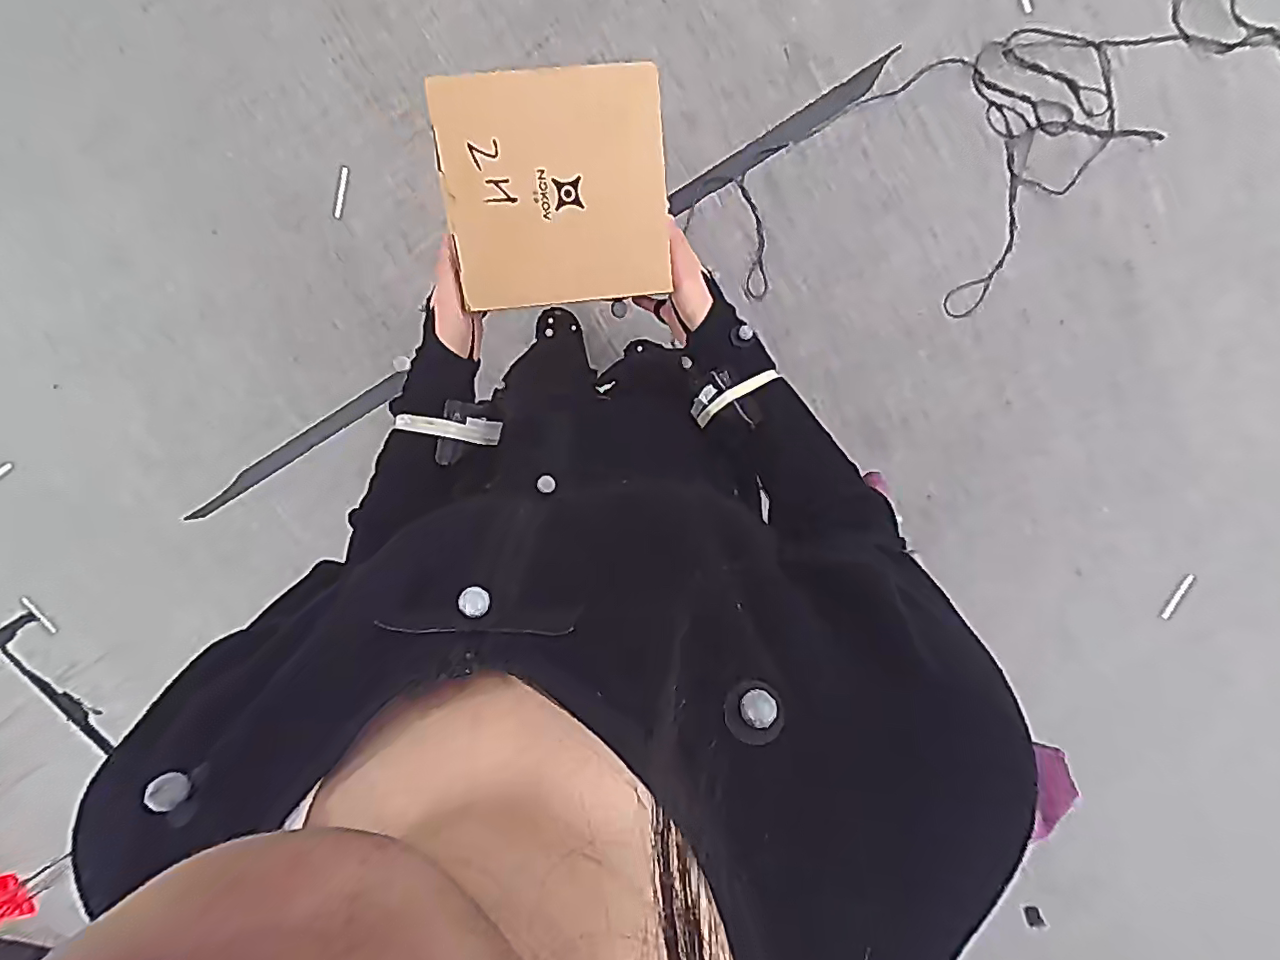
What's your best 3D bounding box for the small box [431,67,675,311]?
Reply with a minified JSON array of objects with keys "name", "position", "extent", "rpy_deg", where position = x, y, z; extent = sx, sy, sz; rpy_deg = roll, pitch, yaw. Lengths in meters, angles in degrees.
[{"name":"small box","position":[-0.070,-0.250,0.498],"extent":[0.179,0.176,0.168],"rpy_deg":[-6,109,-4]}]
